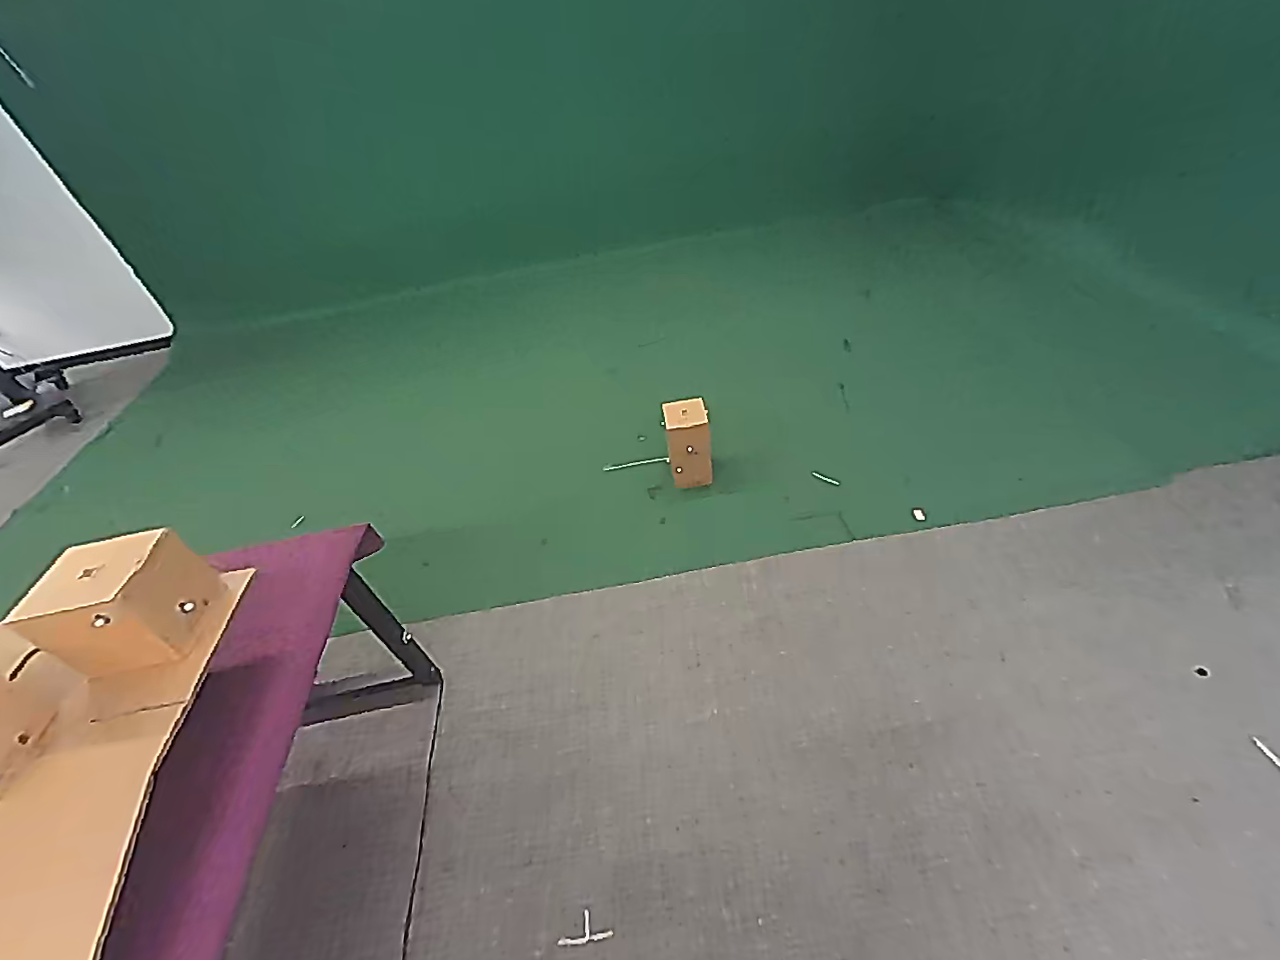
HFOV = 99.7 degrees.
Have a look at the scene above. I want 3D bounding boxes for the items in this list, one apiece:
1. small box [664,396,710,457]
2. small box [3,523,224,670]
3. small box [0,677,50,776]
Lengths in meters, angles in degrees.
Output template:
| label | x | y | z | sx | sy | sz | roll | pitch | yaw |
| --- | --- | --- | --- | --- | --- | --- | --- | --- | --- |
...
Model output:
| label | x | y | z | sx | sy | sz | roll | pitch | yaw |
| --- | --- | --- | --- | --- | --- | --- | --- | --- | --- |
| small box | 0.192 | -0.219 | 2.208 | 0.168 | 0.176 | 0.179 | -9 | 43 | 3 |
| small box | -0.887 | 0.204 | 0.936 | 0.179 | 0.176 | 0.168 | -12 | 41 | -2 |
| small box | -1.034 | 0.375 | 0.769 | 0.179 | 0.176 | 0.168 | -13 | 40 | -1 |
